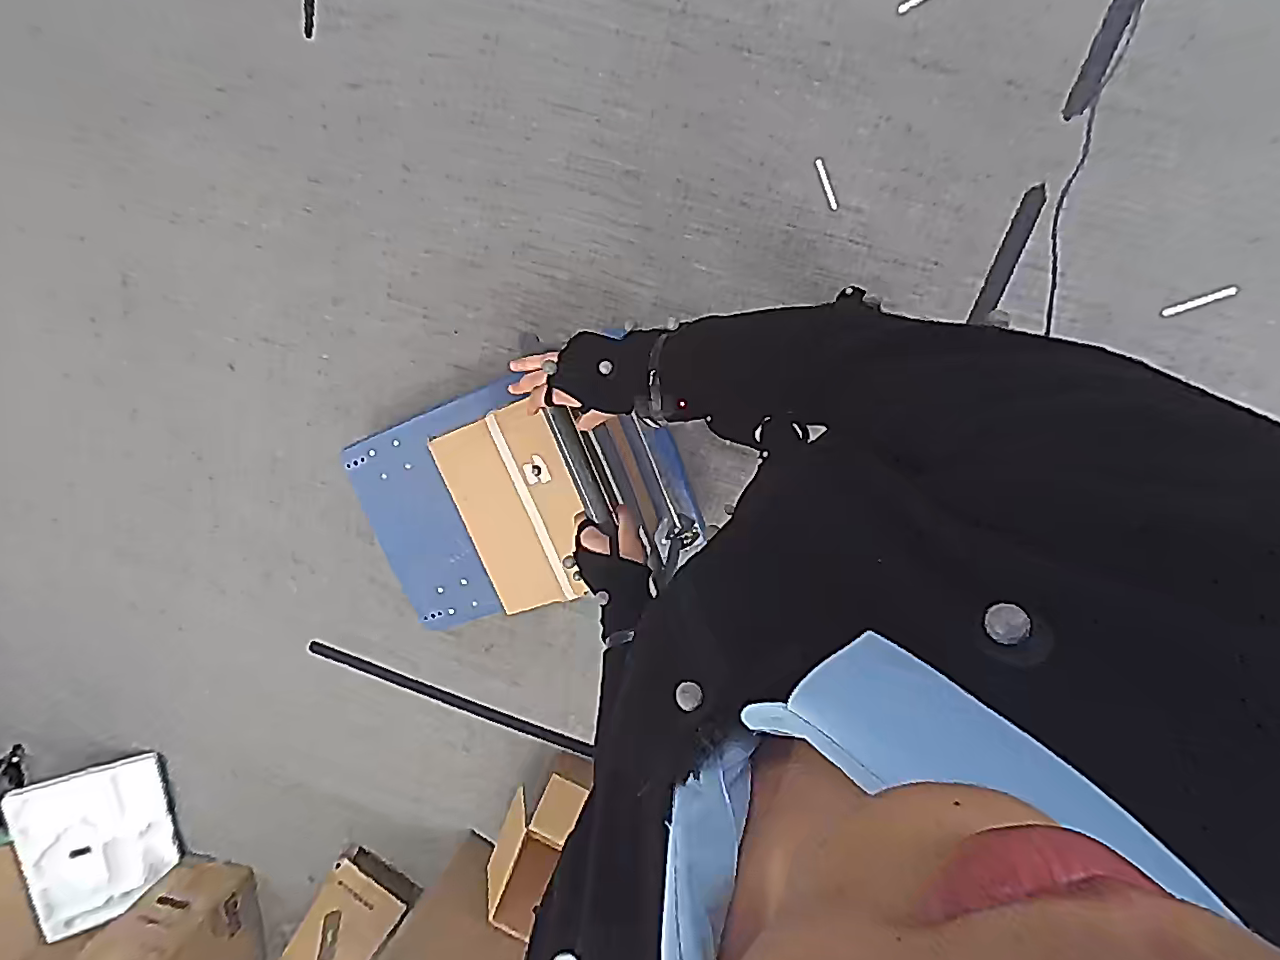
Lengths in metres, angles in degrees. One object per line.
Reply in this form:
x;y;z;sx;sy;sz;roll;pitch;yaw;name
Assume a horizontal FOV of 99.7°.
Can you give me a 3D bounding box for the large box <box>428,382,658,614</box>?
-0.191;0.026;1.230;0.320;0.320;0.408;-20;99;14;large box
